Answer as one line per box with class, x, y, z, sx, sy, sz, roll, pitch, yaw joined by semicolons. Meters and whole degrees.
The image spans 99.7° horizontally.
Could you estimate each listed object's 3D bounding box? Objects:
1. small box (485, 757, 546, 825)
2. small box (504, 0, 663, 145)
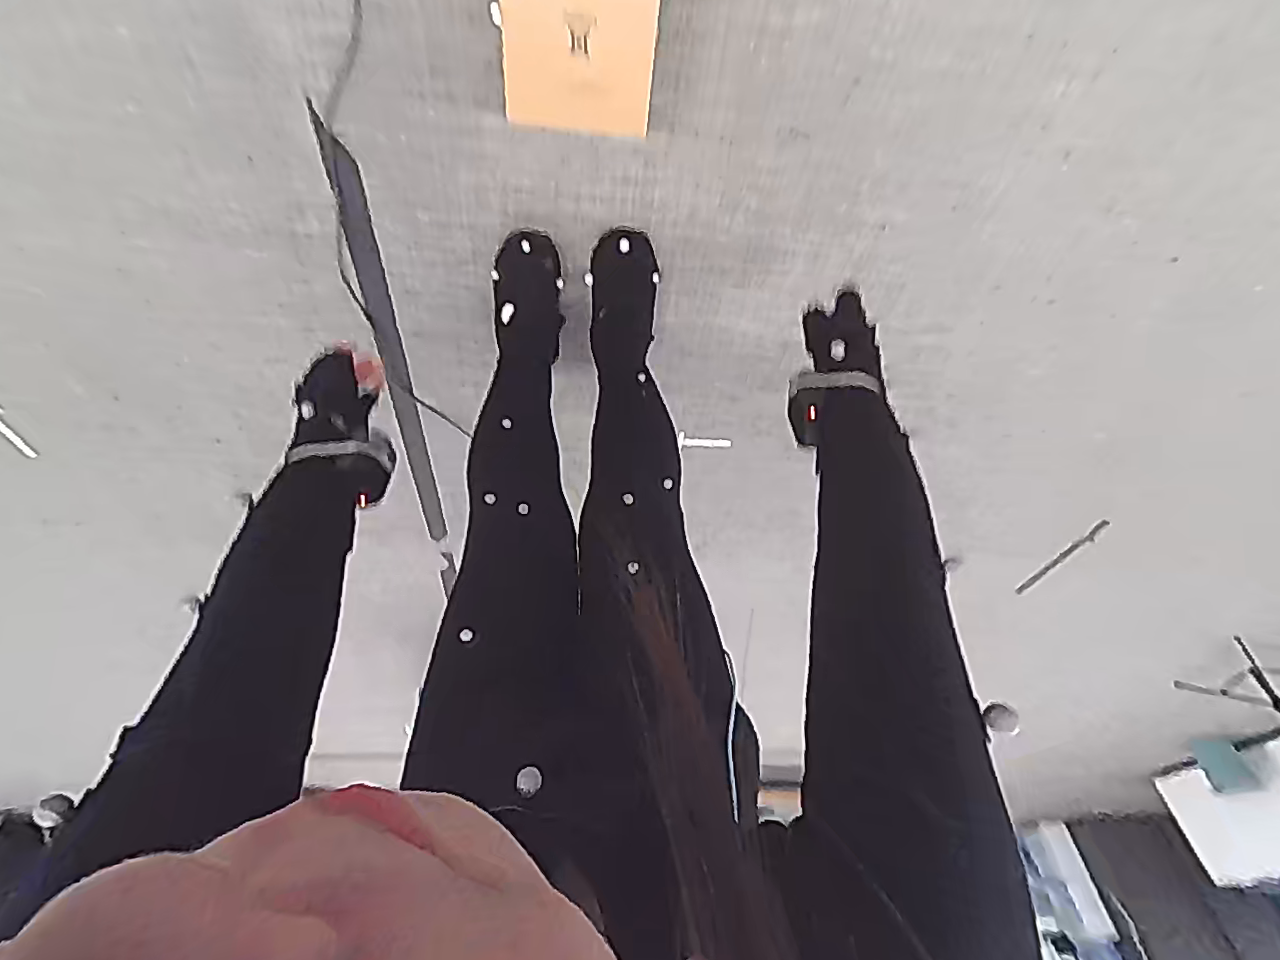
small box;-0.408;1.032;1.796;0.168;0.176;0.179;2;137;-3
small box;-0.066;-0.528;0.638;0.168;0.176;0.179;4;138;-5
